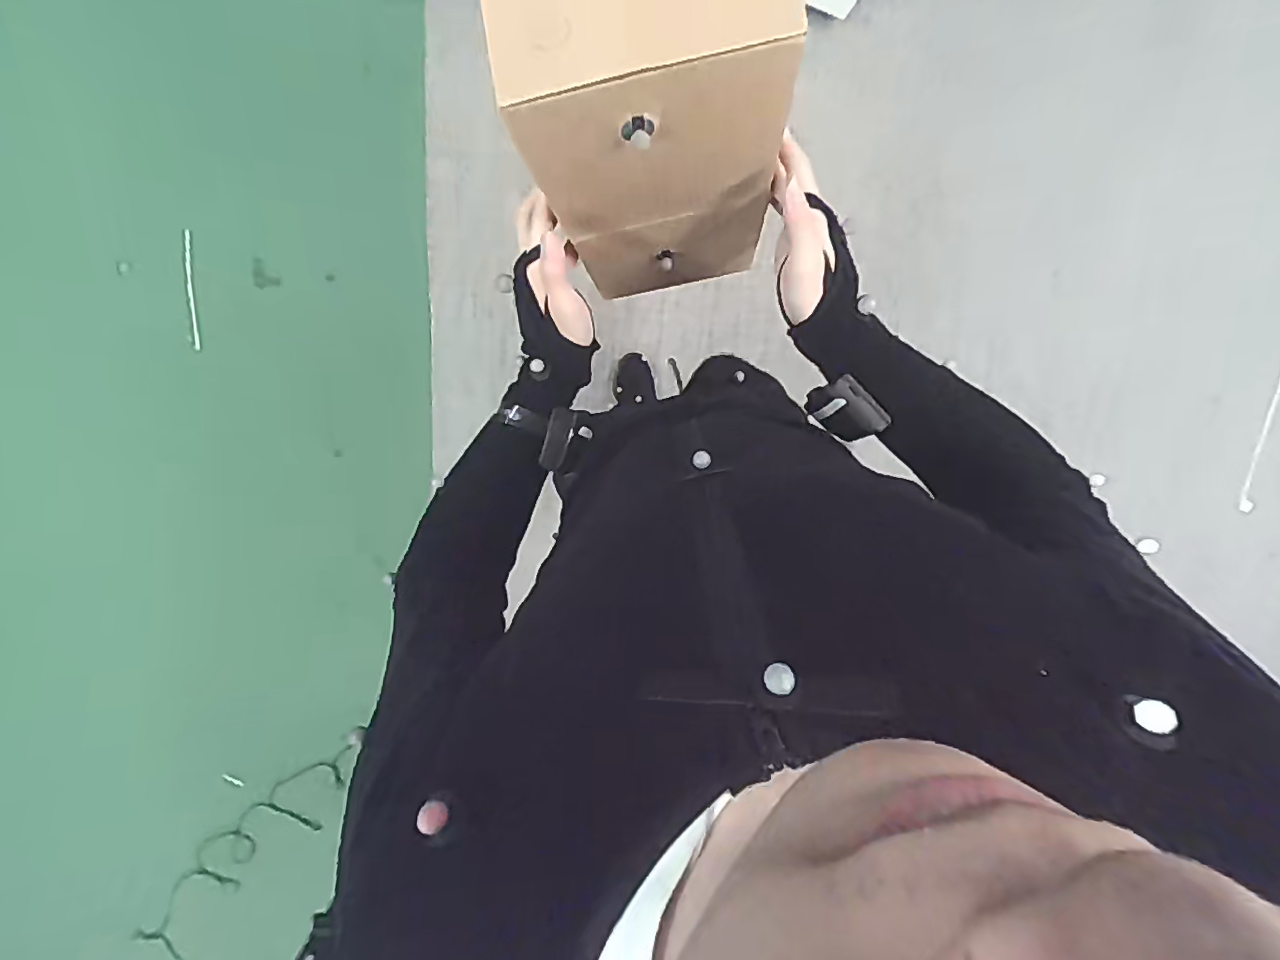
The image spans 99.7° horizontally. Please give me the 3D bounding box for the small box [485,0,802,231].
[{"bbox_3d":[0.003,-0.301,0.382,0.179,0.176,0.168,-8,88,6],"label":"small box"}]

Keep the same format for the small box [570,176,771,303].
[{"bbox_3d":[0.023,-0.298,0.545,0.179,0.176,0.168,-9,88,7],"label":"small box"}]
